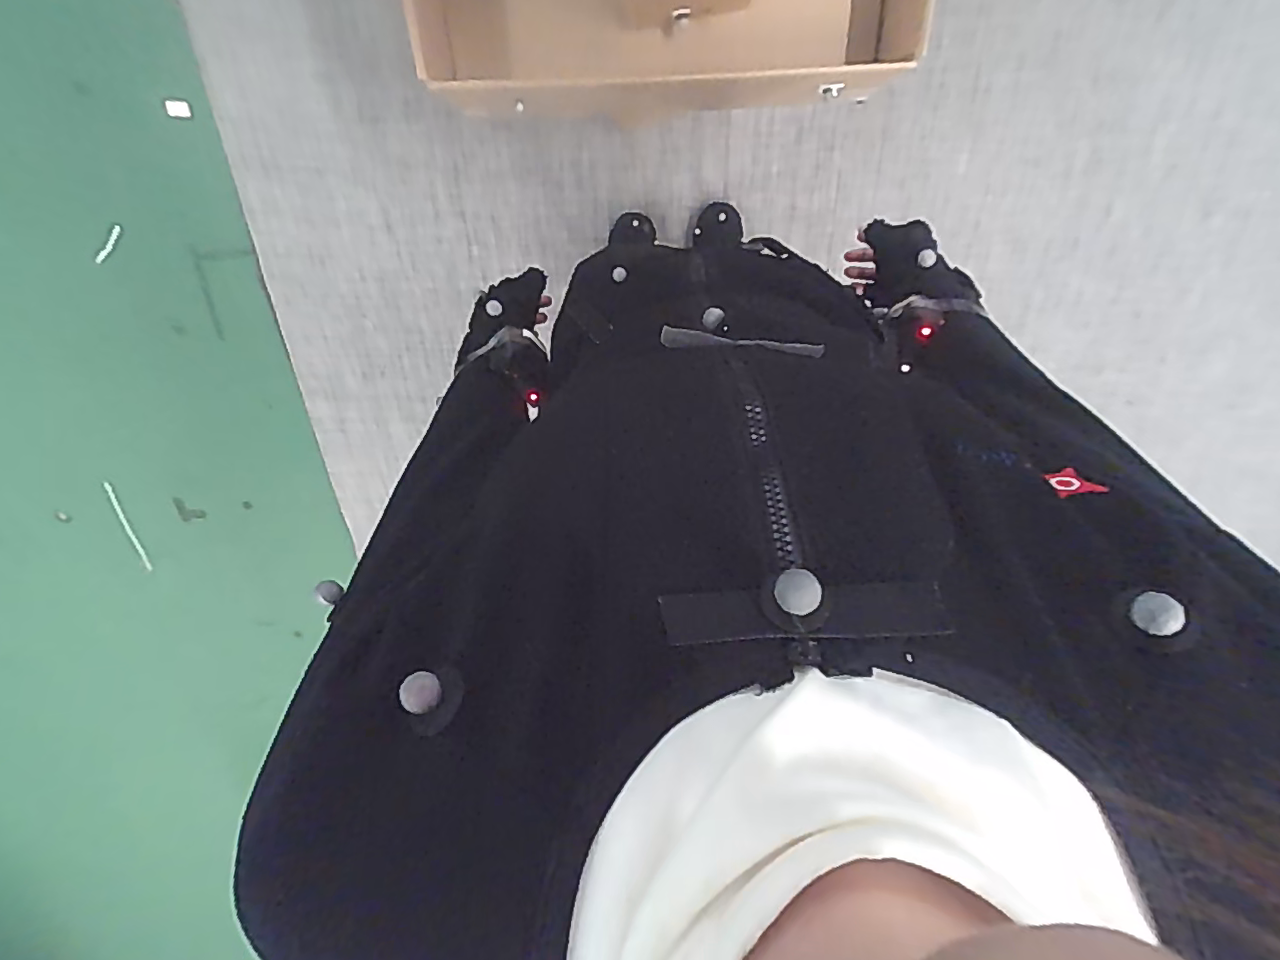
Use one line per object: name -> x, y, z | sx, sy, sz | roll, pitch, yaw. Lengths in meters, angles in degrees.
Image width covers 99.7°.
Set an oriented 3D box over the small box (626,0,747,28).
small box -> 0.051, -0.674, 0.633 | 0.168, 0.176, 0.179 | -6, 117, 6
